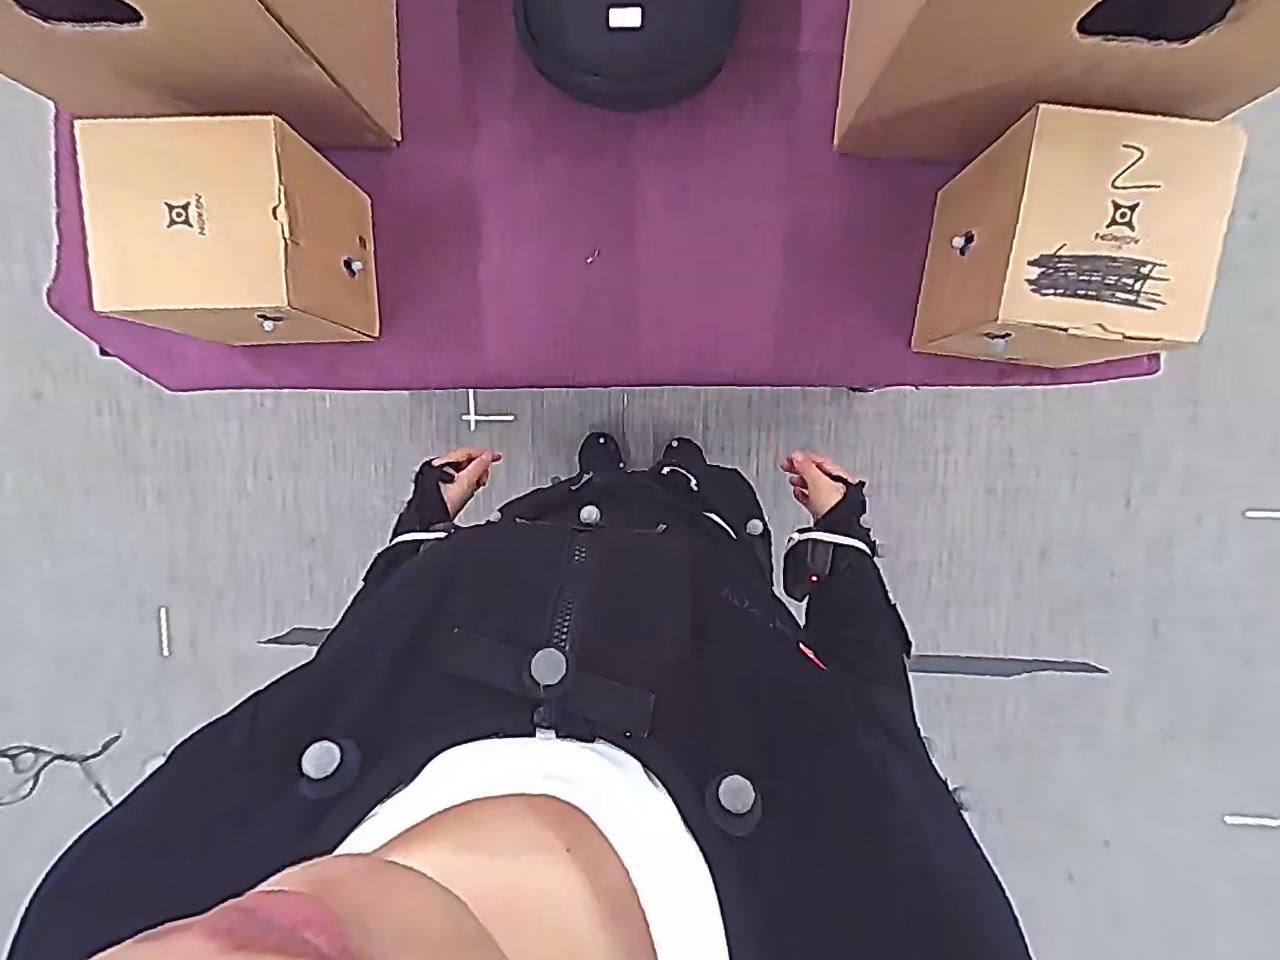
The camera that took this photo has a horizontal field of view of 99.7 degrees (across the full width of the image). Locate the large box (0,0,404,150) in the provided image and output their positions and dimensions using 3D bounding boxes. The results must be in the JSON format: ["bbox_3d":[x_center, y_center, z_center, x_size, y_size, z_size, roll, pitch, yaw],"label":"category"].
[{"bbox_3d":[-0.428,-0.565,0.463,0.320,0.320,0.408,0,98,1],"label":"large box"}]
